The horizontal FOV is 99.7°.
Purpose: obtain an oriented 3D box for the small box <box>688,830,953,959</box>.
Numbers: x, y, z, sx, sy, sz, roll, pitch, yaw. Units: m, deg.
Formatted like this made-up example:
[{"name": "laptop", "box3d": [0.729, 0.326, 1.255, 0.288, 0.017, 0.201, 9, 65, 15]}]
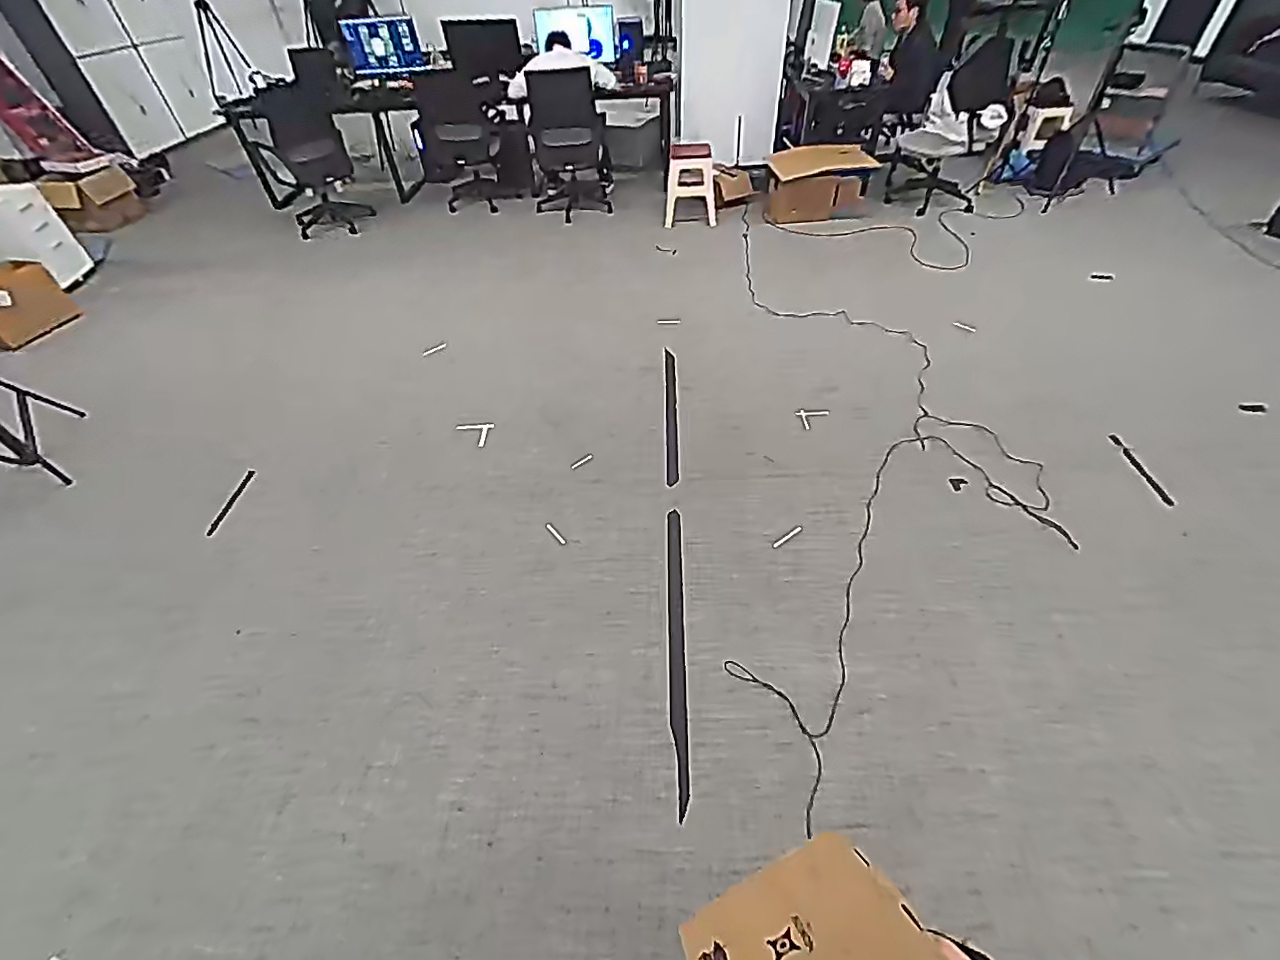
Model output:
[{"name": "small box", "box3d": [0.164, 0.446, 0.439, 0.179, 0.168, 0.176, -25, 88, -8]}]
